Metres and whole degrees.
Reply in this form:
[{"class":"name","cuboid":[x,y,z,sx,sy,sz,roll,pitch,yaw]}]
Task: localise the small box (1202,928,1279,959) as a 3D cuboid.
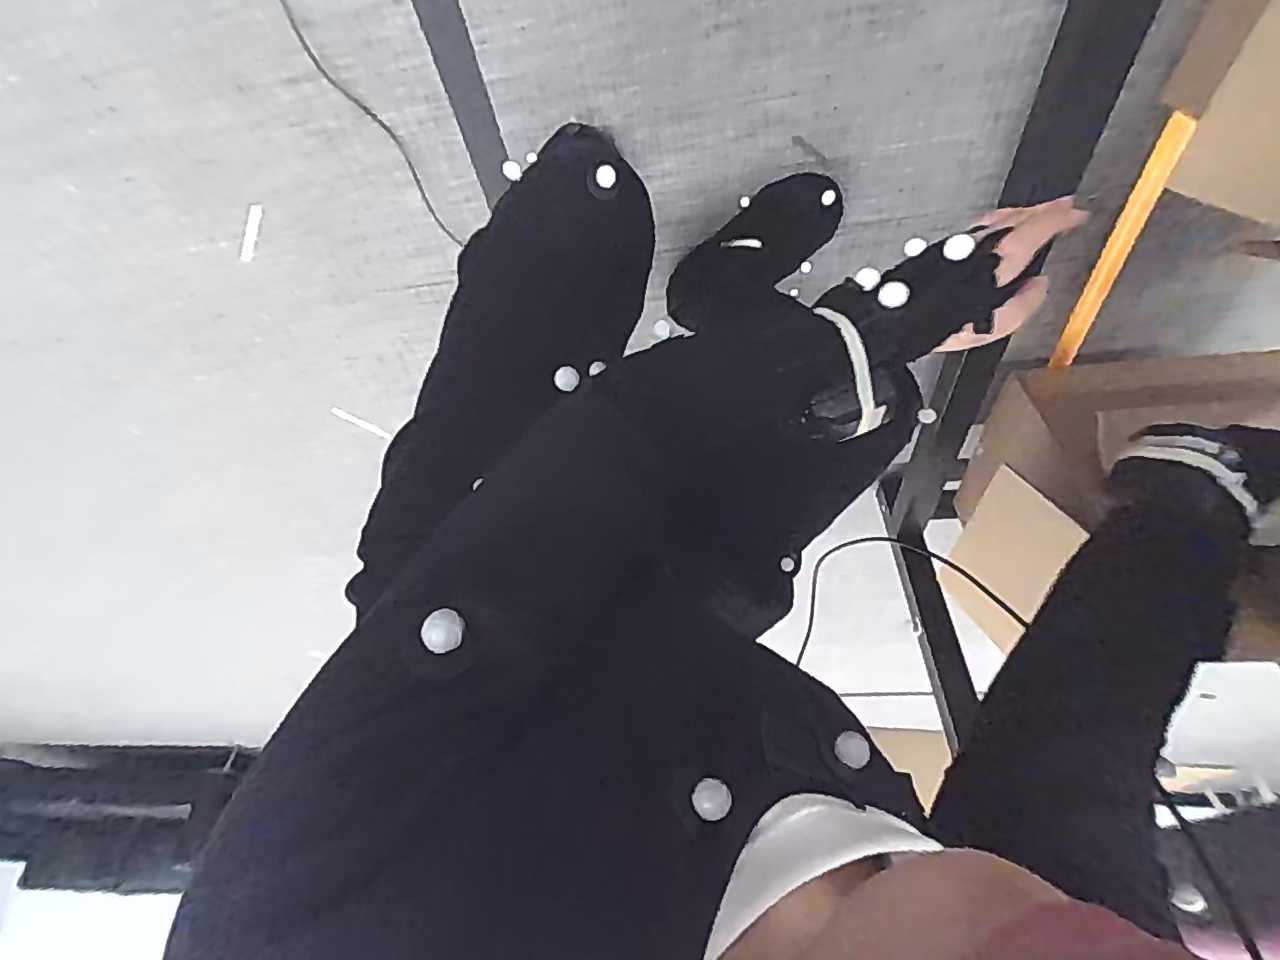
[{"class":"small box","cuboid":[0.674,0.508,0.479,0.168,0.176,0.179,-2,141,4]}]
